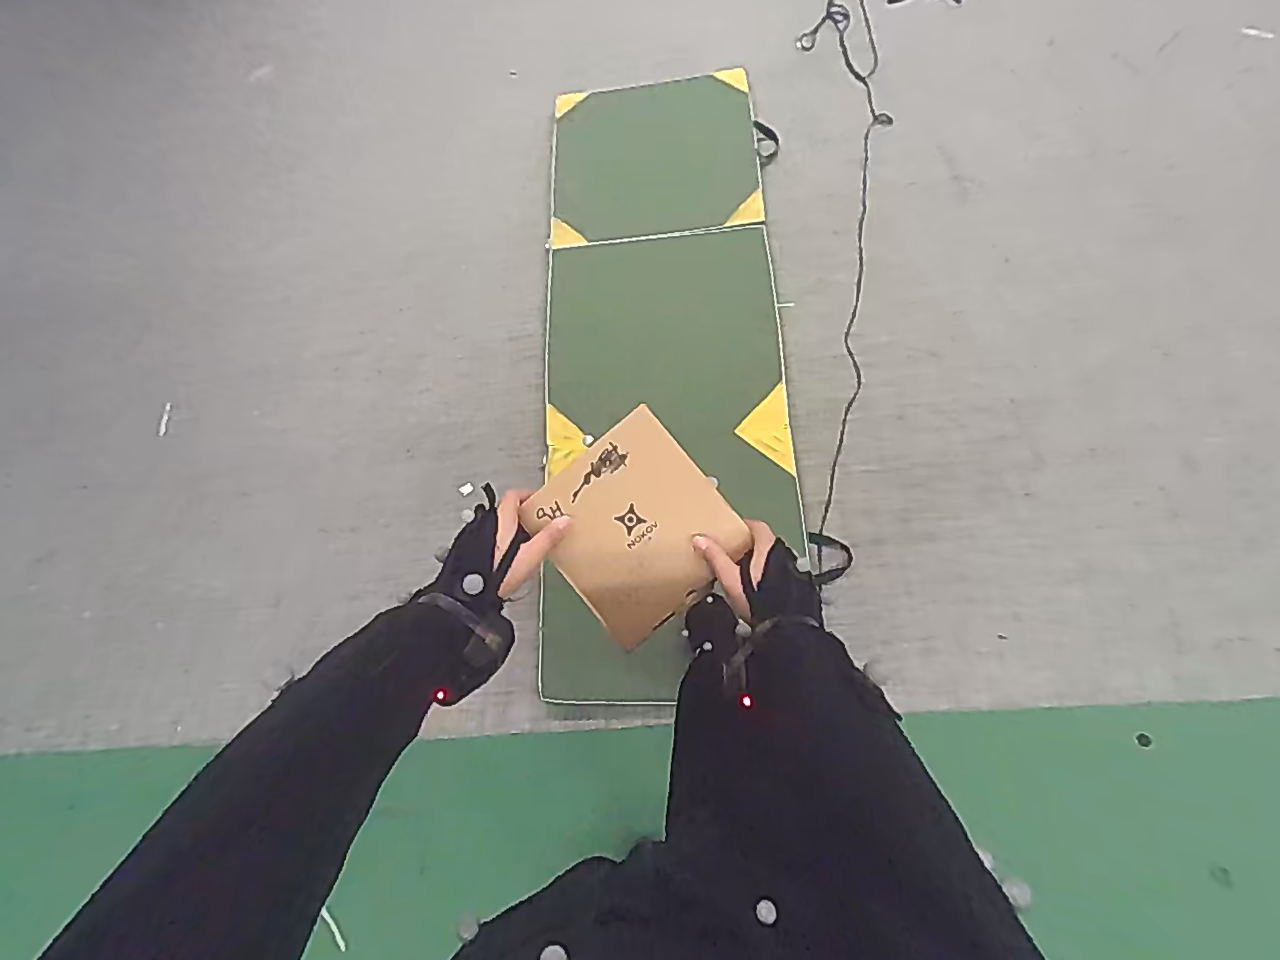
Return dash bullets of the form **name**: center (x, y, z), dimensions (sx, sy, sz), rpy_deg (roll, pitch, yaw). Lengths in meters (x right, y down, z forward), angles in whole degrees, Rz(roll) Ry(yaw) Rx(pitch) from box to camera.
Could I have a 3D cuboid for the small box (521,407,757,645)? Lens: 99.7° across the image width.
- **small box**: center (0.001, 0.046, 0.601), dimensions (0.168, 0.176, 0.179), rpy_deg (-40, 87, -1)
